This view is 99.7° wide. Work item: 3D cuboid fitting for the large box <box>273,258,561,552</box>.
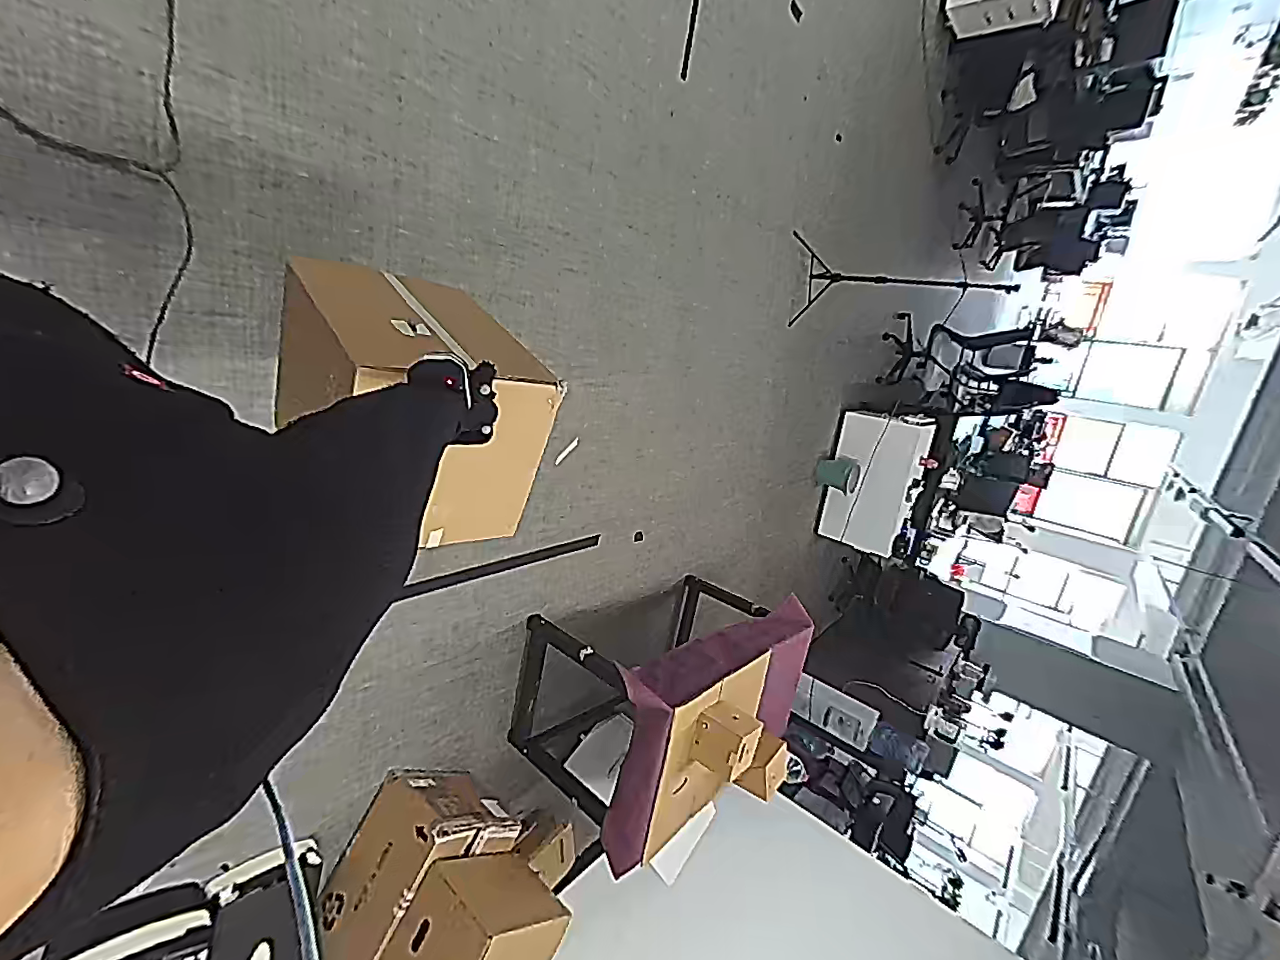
[{"bbox_3d":[-0.410,-0.134,0.948,0.320,0.408,0.320,-4,129,-44],"label":"large box"}]
